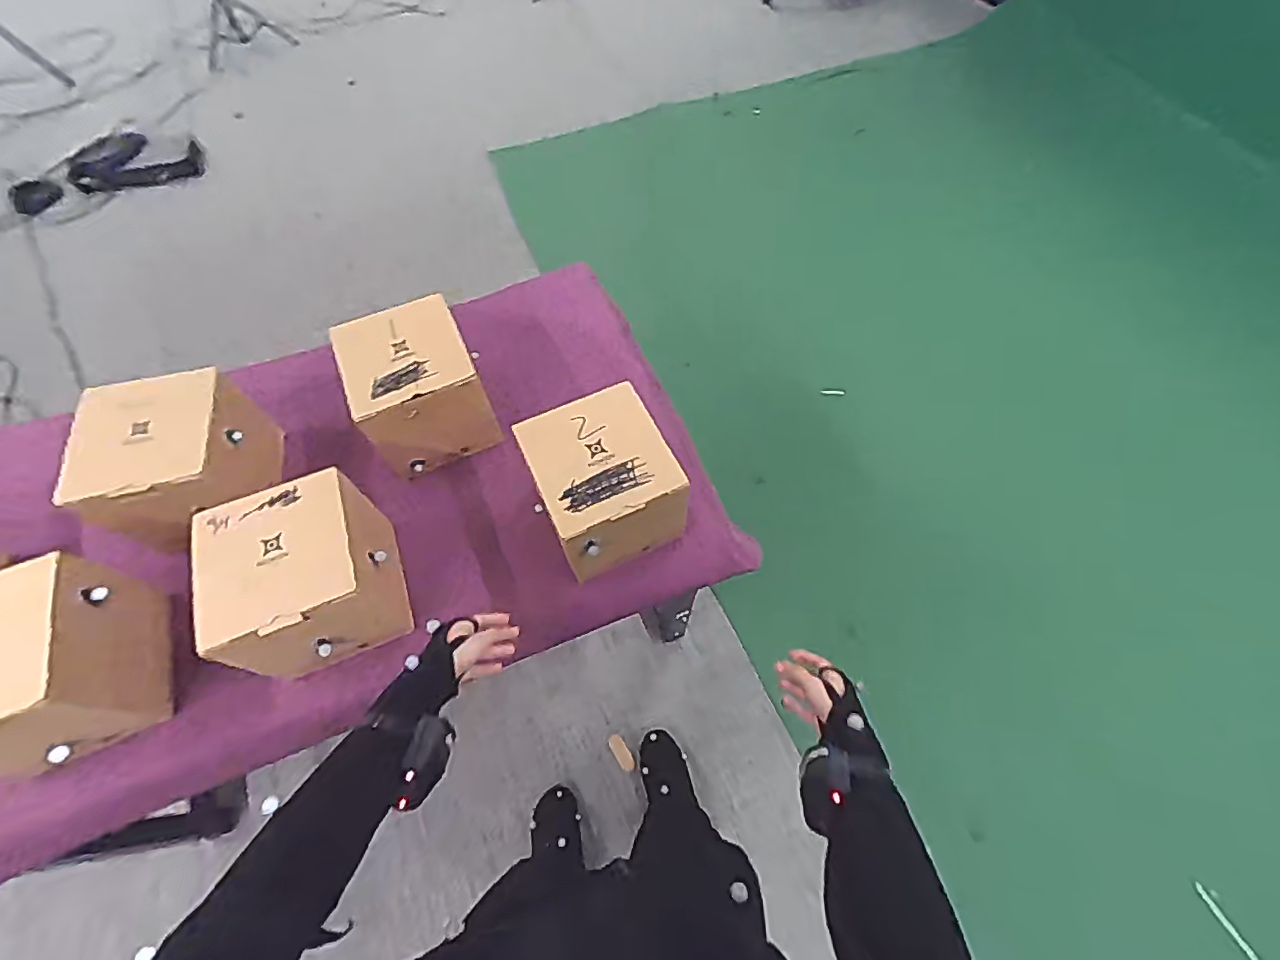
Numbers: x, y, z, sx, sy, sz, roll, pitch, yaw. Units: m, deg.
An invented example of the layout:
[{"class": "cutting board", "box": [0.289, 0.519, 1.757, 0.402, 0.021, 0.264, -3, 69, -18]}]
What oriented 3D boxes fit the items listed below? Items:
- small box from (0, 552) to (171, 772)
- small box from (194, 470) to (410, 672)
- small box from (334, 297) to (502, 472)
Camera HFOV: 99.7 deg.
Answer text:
[{"class": "small box", "box": [-0.686, 0.213, 0.619, 0.168, 0.176, 0.179, -21, 63, -10]}, {"class": "small box", "box": [-0.406, 0.122, 0.670, 0.168, 0.176, 0.179, -20, 62, -11]}, {"class": "small box", "box": [-0.322, -0.132, 0.809, 0.168, 0.176, 0.179, -22, 62, -12]}]
